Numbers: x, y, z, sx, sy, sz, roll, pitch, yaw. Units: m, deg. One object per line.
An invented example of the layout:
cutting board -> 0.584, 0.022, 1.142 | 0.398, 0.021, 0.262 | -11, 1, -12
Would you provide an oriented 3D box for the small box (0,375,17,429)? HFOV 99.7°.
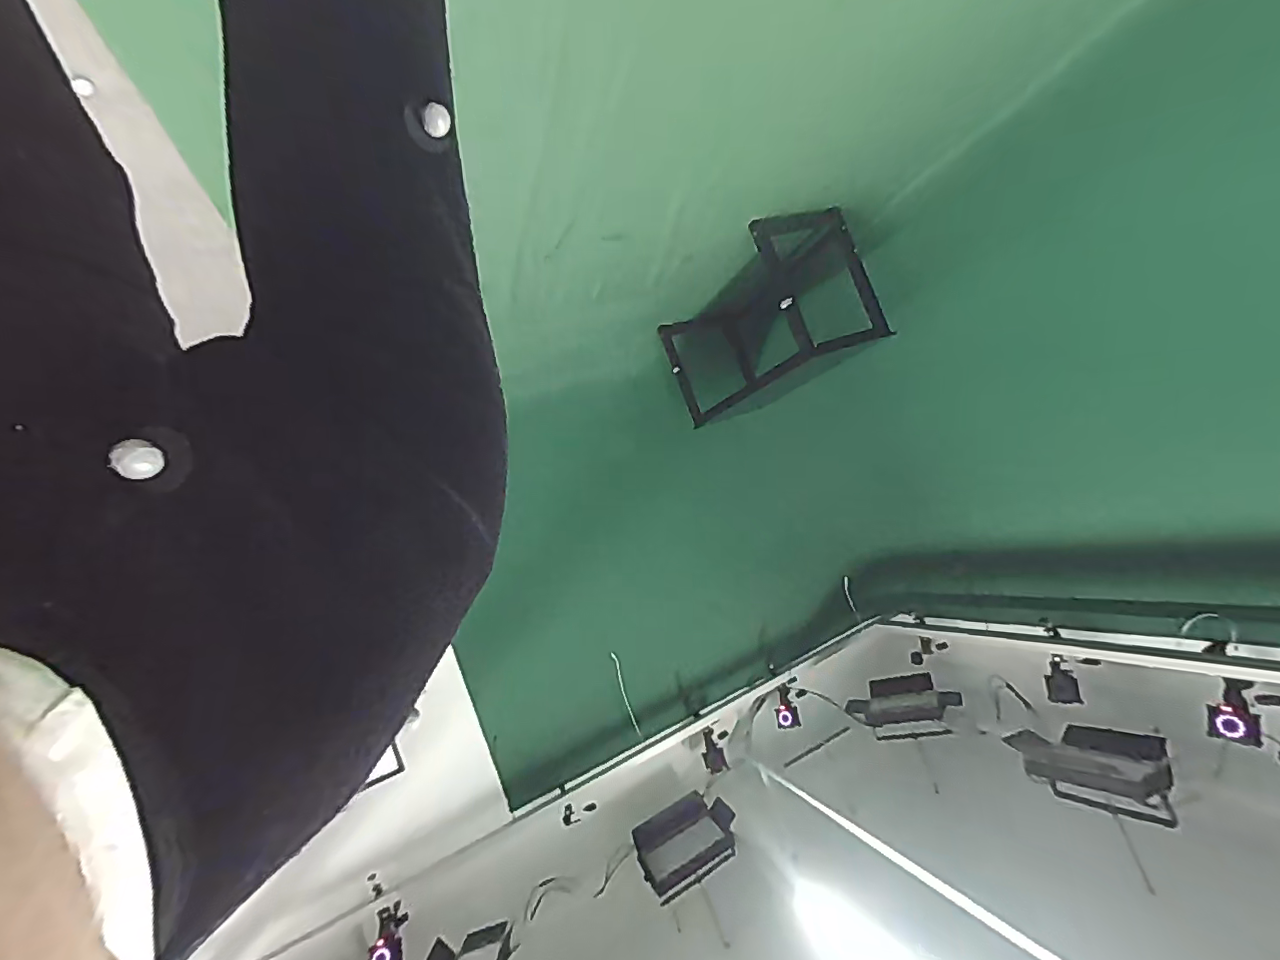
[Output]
small box -> -1.922, -0.231, 1.511 | 0.168, 0.176, 0.179 | -16, 174, -25
